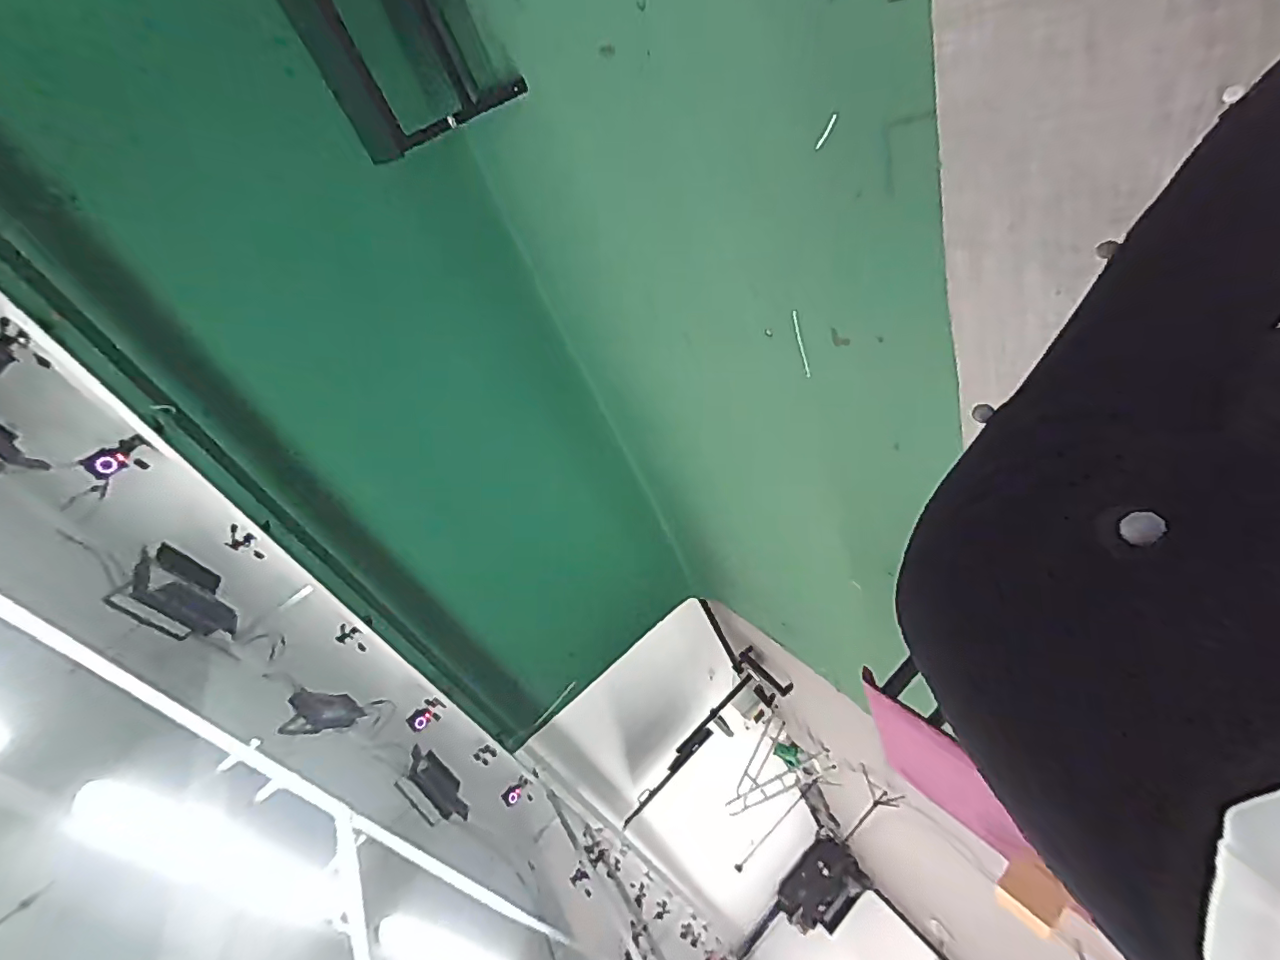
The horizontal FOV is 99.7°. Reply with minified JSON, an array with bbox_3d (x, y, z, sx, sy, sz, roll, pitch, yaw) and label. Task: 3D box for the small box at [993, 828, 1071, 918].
[{"bbox_3d":[1.366,1.365,1.884,0.168,0.176,0.179,29,153,48],"label":"small box"}]
